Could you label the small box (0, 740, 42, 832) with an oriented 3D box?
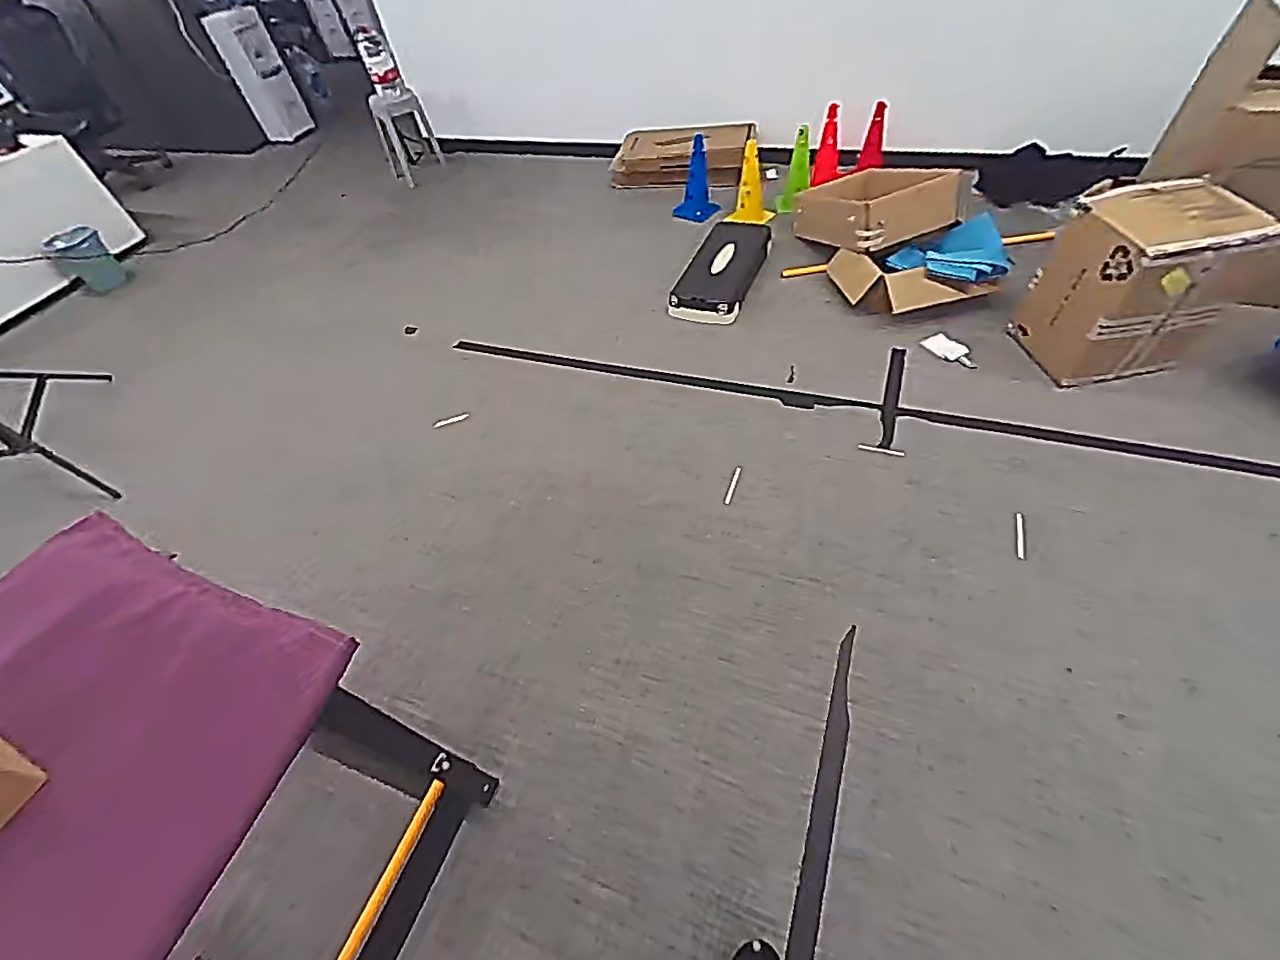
[{"bbox_3d":[-0.810,0.338,0.554,0.179,0.176,0.168,16,55,19],"label":"small box"}]
